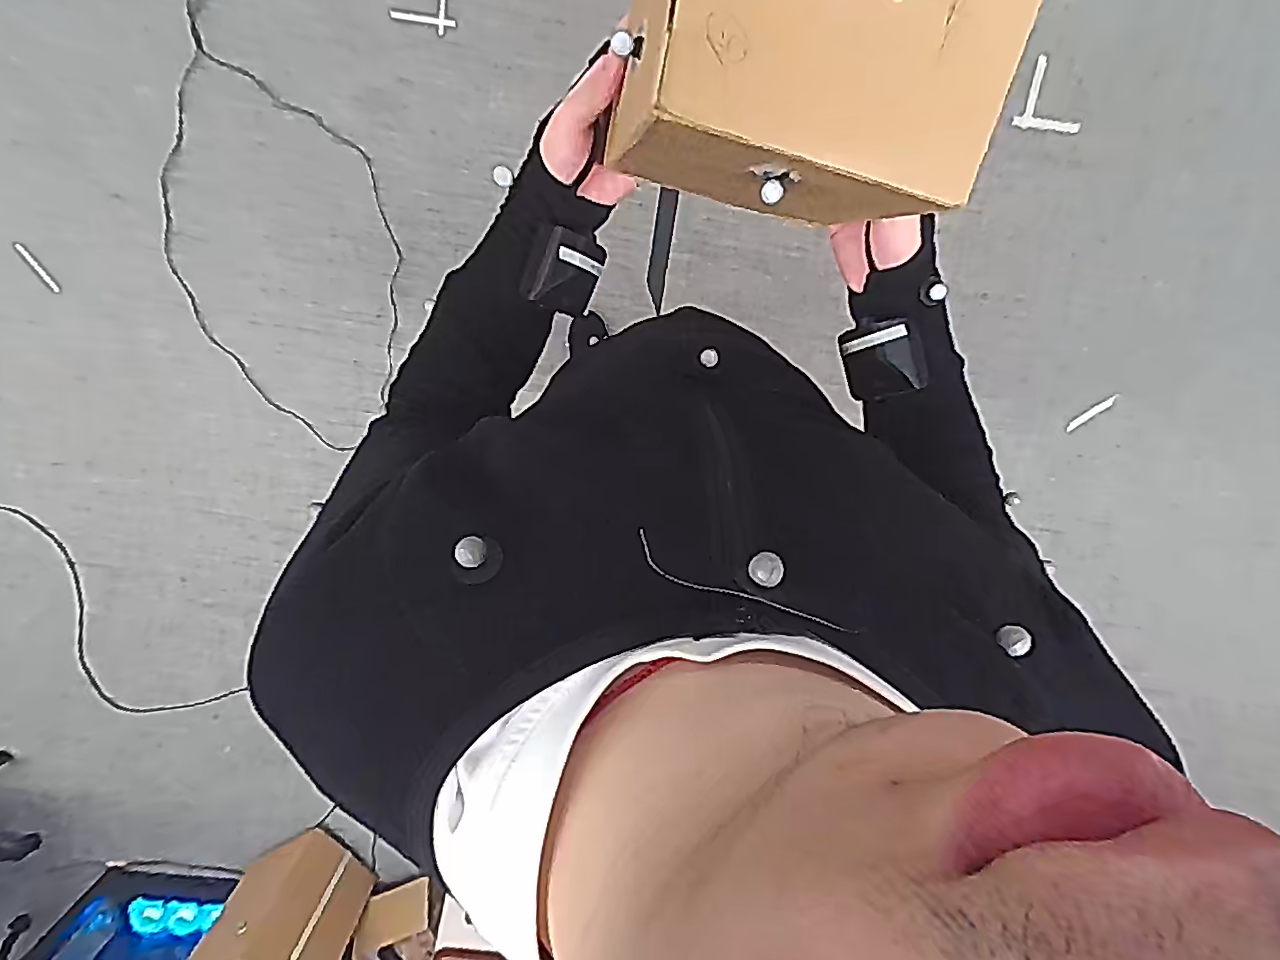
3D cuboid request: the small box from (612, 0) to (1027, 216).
[{"bbox_3d":[0.089,-0.266,0.320,0.179,0.176,0.168,8,110,-16],"label":"small box"}]
